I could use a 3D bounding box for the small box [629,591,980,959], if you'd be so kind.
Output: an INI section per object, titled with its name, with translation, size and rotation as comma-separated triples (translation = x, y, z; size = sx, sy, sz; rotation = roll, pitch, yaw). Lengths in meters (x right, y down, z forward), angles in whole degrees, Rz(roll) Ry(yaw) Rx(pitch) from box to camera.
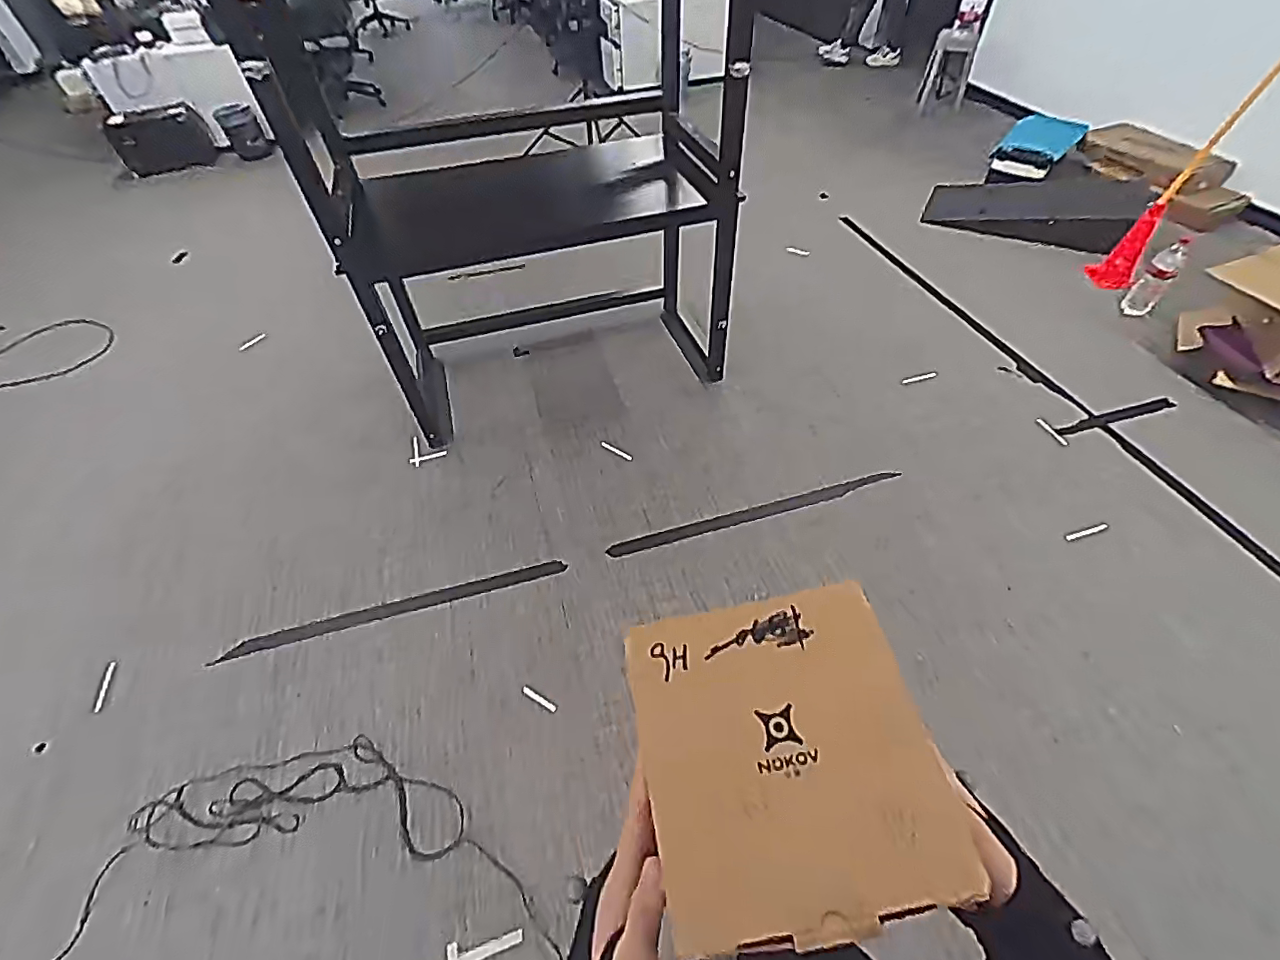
[small box]
translation = 0.093, 0.203, 0.391
size = 0.168, 0.176, 0.179
rotation = -11, 57, -1
